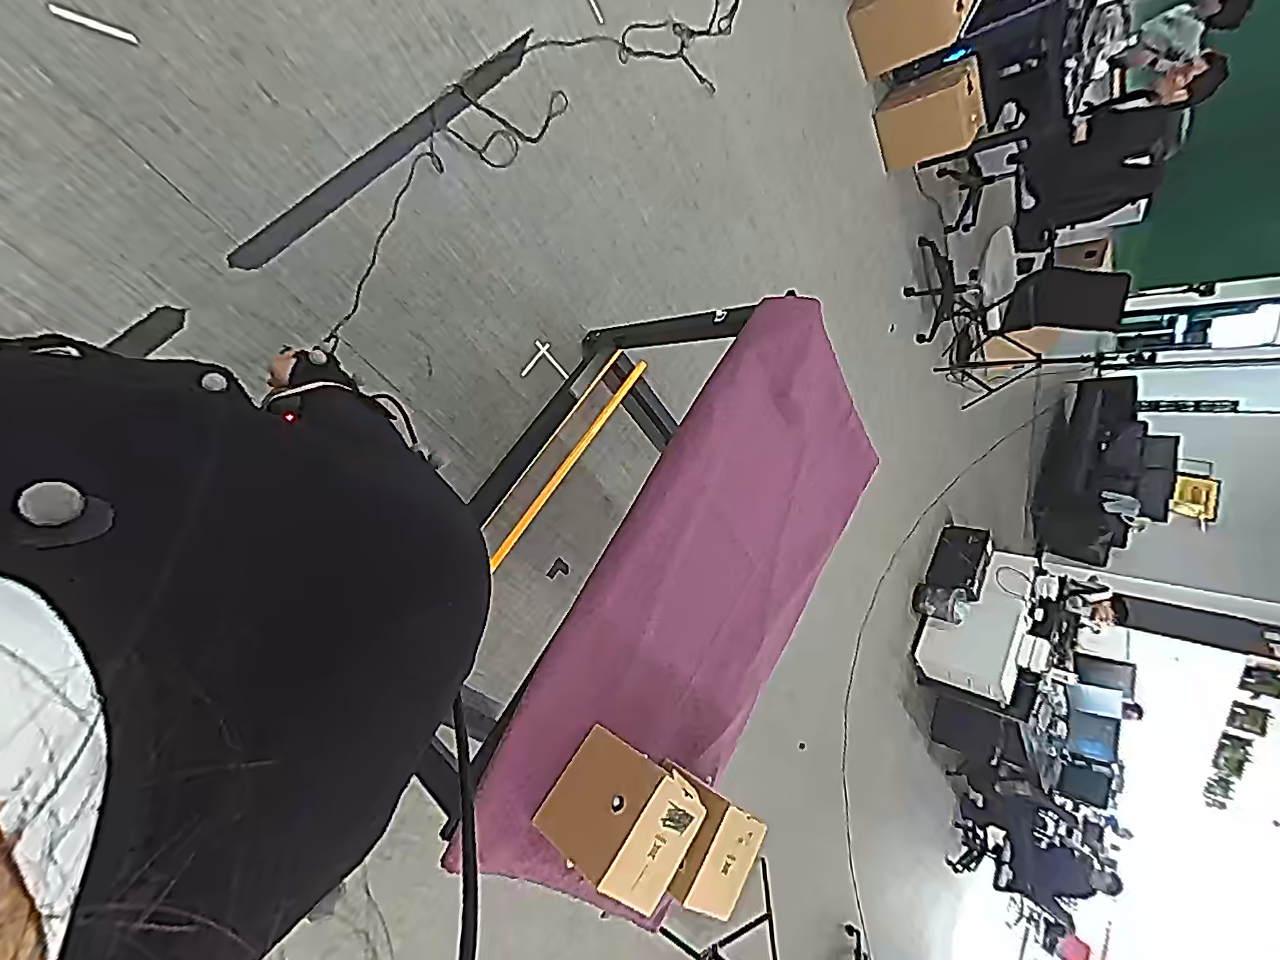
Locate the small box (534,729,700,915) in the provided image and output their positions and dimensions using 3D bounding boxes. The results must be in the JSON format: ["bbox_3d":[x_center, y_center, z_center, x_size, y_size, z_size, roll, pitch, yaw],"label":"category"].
[{"bbox_3d":[-0.037,0.544,0.880,0.179,0.176,0.168,-52,129,-26],"label":"small box"}]

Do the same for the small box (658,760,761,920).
[{"bbox_3d":[0.094,0.675,1.025,0.168,0.176,0.179,50,63,-35],"label":"small box"}]
